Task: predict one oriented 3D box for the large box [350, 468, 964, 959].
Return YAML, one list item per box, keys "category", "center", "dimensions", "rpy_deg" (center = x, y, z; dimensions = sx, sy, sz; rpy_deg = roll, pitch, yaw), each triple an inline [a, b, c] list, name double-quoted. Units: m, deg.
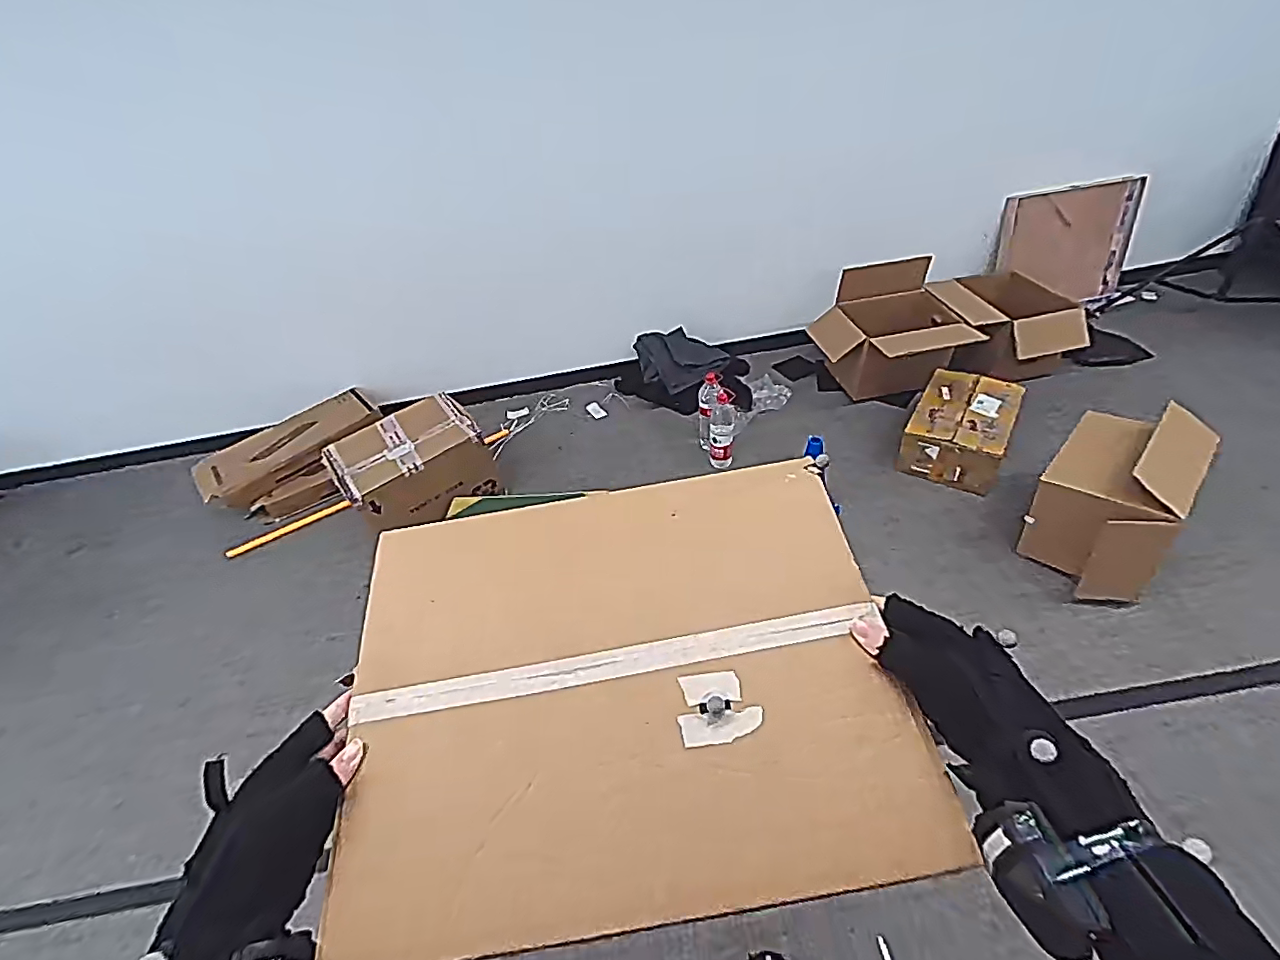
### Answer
- category: "large box"
  center: [0.002, 0.231, 0.544]
  dimensions: [0.408, 0.320, 0.320]
  rpy_deg: [-10, 55, -1]
